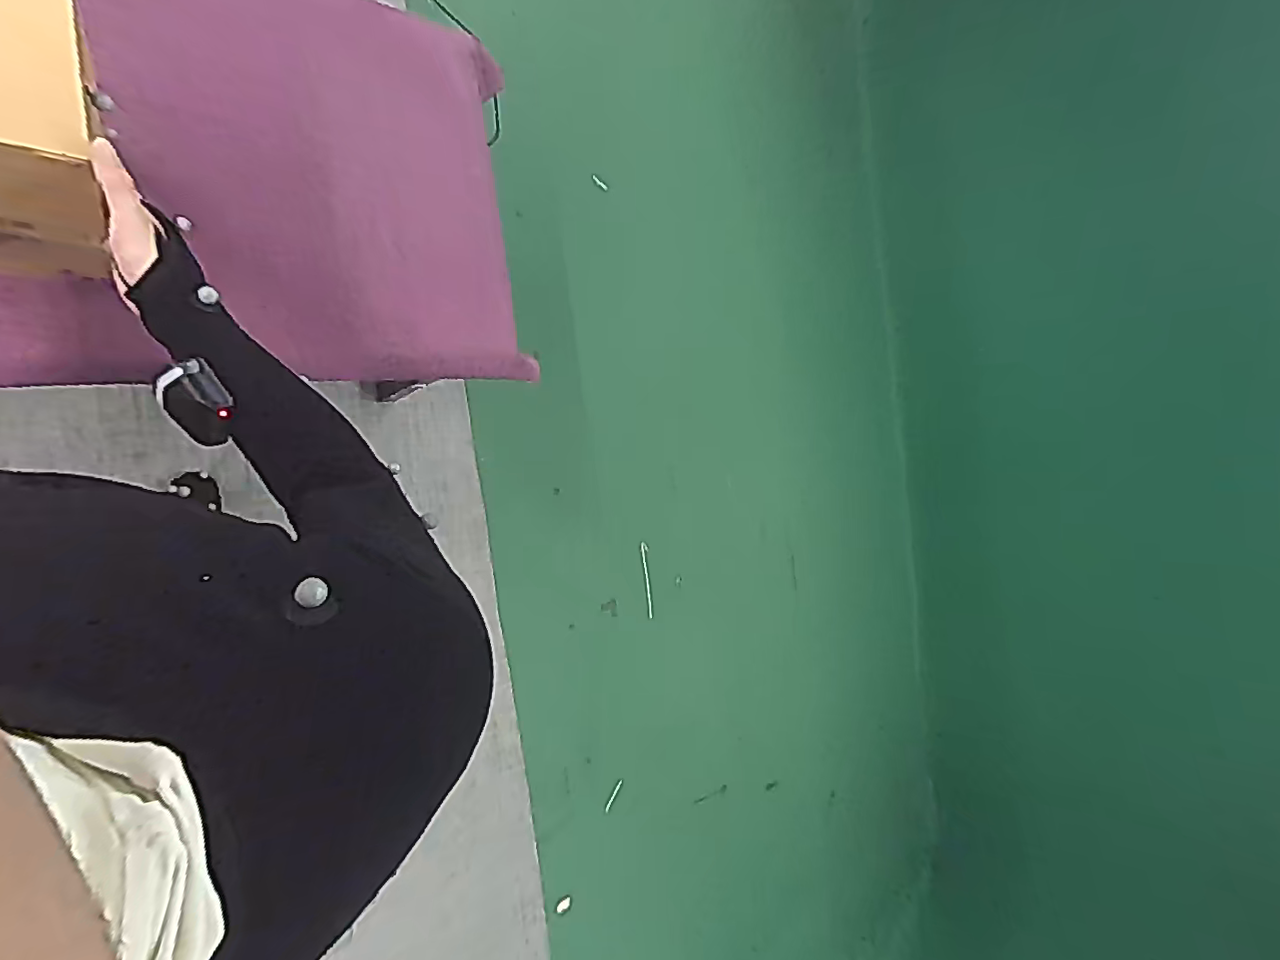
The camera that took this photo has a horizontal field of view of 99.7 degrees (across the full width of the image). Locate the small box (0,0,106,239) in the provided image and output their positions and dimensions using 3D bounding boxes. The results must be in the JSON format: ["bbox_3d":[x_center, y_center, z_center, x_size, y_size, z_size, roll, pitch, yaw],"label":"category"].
[{"bbox_3d":[-0.570,-0.332,0.446,0.168,0.176,0.179,-7,91,-40],"label":"small box"}]
